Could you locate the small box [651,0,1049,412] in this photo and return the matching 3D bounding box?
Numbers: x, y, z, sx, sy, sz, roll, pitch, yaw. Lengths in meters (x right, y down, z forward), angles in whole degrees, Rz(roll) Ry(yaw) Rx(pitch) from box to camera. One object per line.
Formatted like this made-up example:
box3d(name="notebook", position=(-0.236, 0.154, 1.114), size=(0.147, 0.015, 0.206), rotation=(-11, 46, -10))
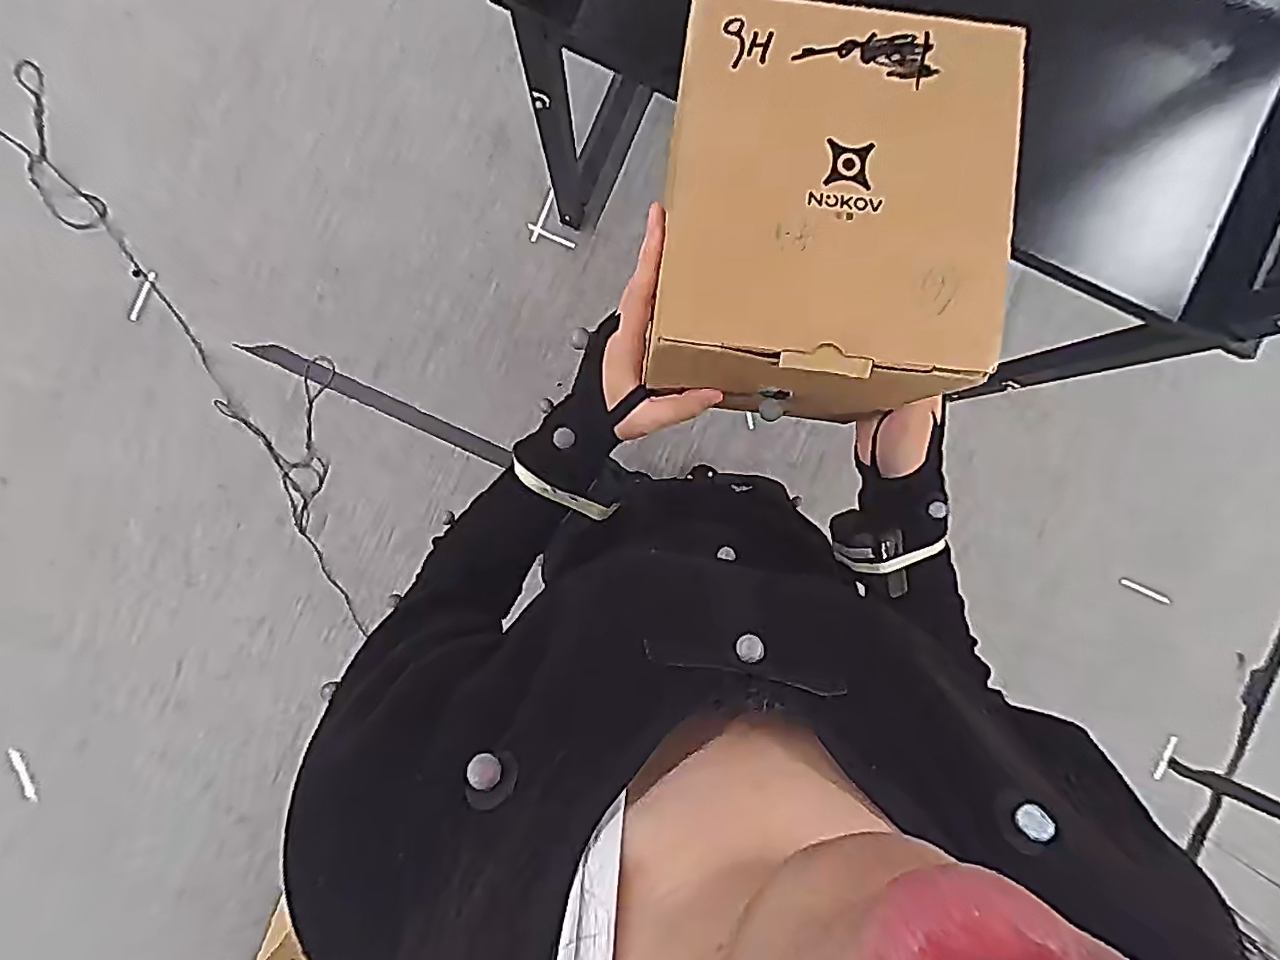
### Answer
box3d(name="small box", position=(0.098, -0.141, 0.331), size=(0.168, 0.176, 0.179), rotation=(6, 90, -3))
